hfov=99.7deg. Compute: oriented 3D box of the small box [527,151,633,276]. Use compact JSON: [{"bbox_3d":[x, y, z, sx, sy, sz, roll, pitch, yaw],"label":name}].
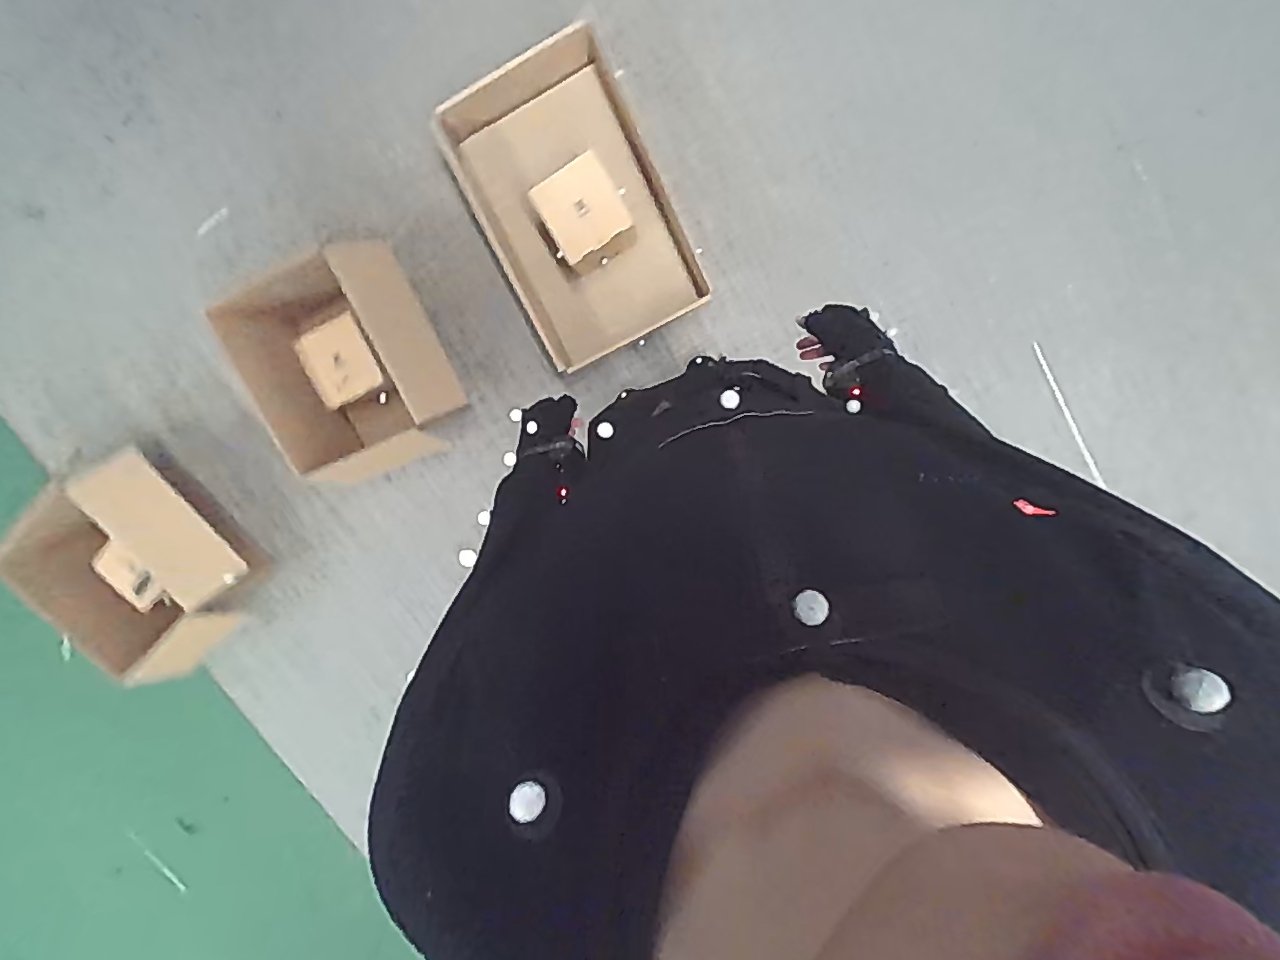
[{"bbox_3d":[-0.128,-0.593,1.231,0.168,0.176,0.179,-31,99,8],"label":"small box"}]
